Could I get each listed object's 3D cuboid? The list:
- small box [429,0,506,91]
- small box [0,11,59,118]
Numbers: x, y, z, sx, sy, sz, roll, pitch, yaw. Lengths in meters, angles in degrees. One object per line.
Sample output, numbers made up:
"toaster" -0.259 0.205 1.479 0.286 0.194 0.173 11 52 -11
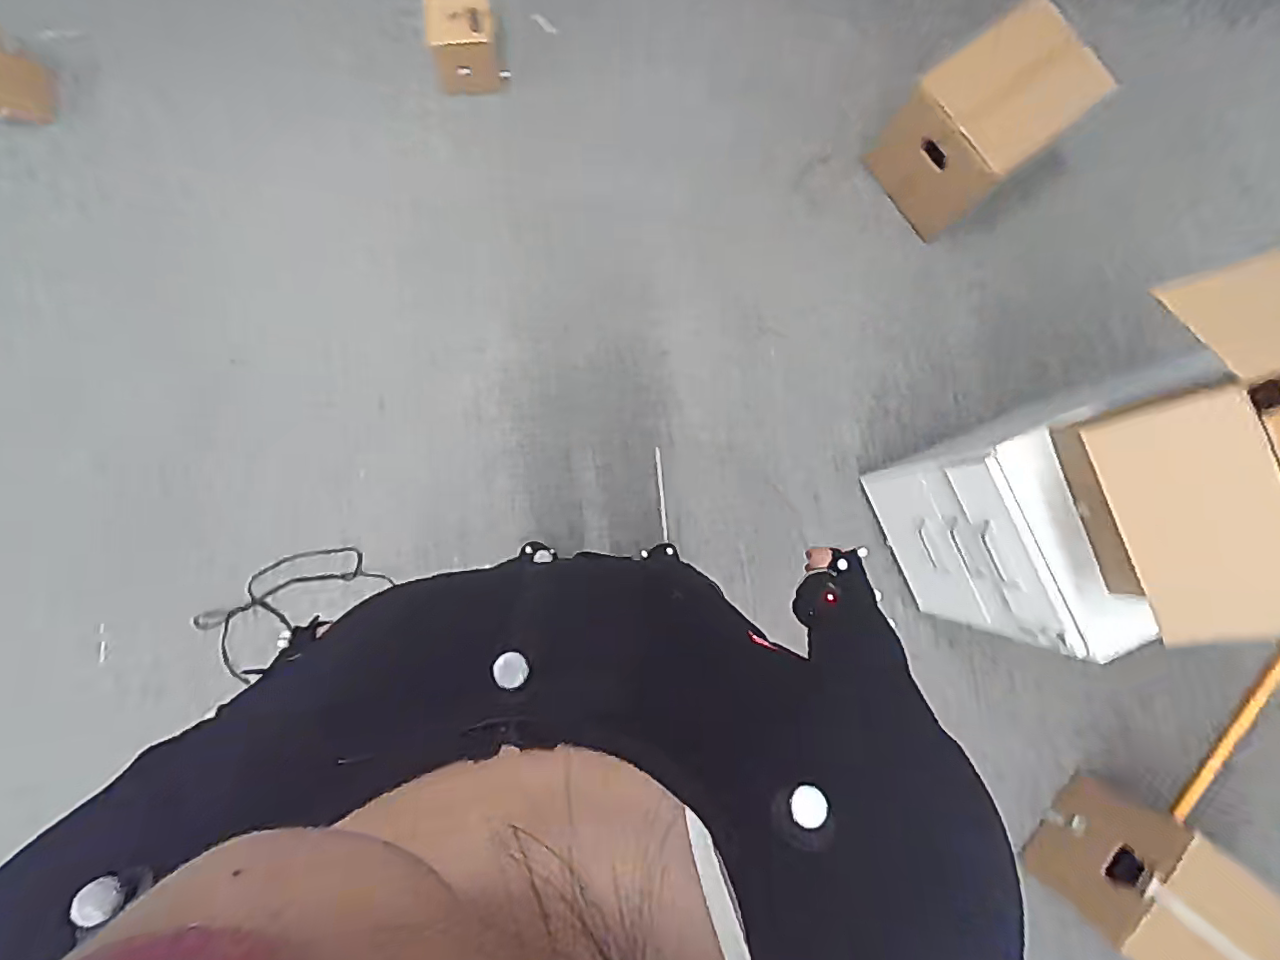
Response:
"small box" -0.479 -1.240 1.526 0.179 0.176 0.168 -4 86 -2
"small box" -1.743 -1.126 1.464 0.168 0.176 0.179 1 85 -2
